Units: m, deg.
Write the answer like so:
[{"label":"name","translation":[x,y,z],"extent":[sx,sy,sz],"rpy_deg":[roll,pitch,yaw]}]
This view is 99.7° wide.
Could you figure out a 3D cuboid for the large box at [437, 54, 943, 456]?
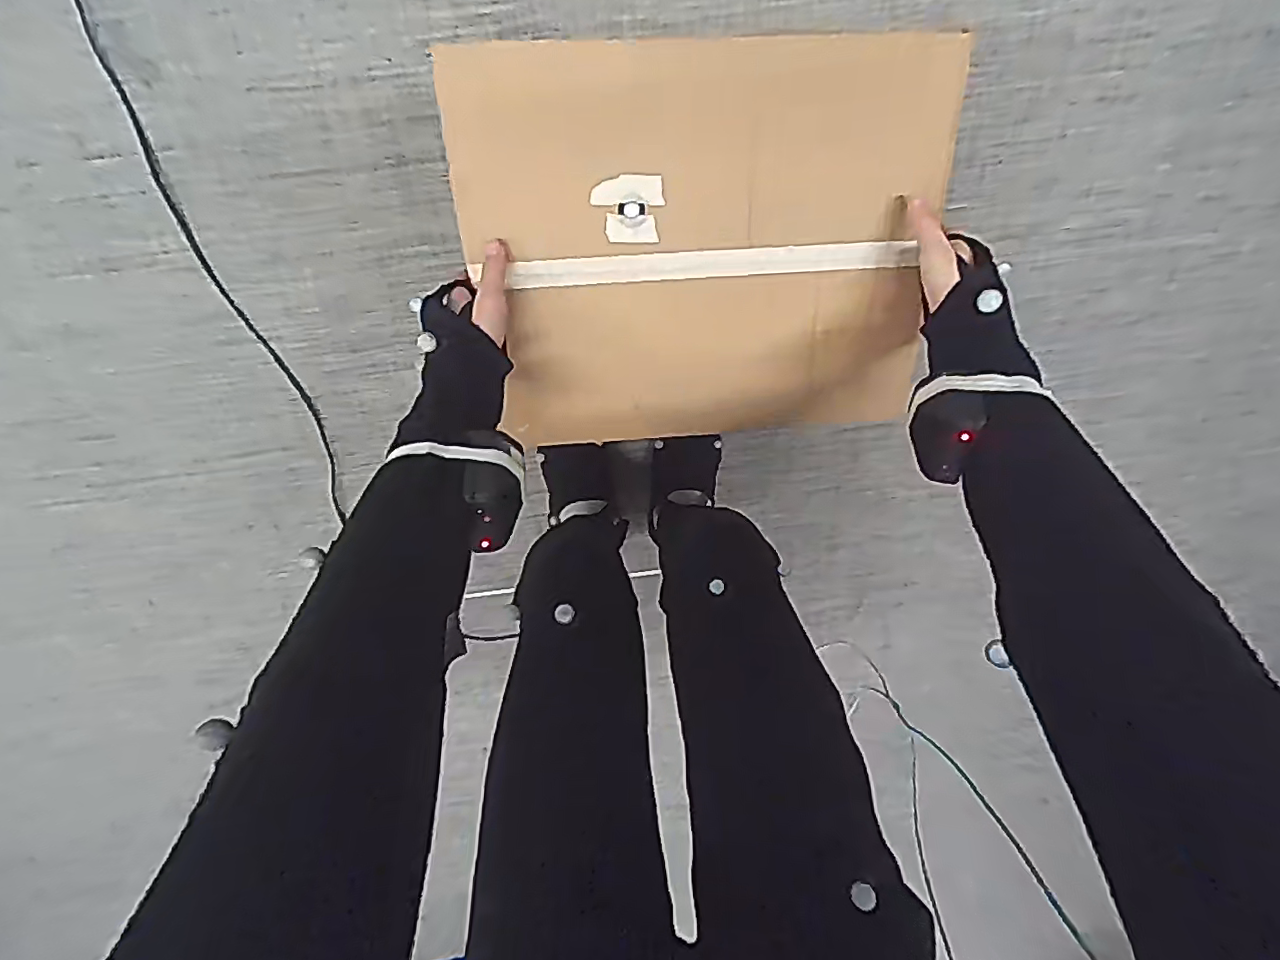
[{"label":"large box","translation":[0.041,-0.244,0.613],"extent":[0.408,0.320,0.320],"rpy_deg":[-4,116,-3]}]
